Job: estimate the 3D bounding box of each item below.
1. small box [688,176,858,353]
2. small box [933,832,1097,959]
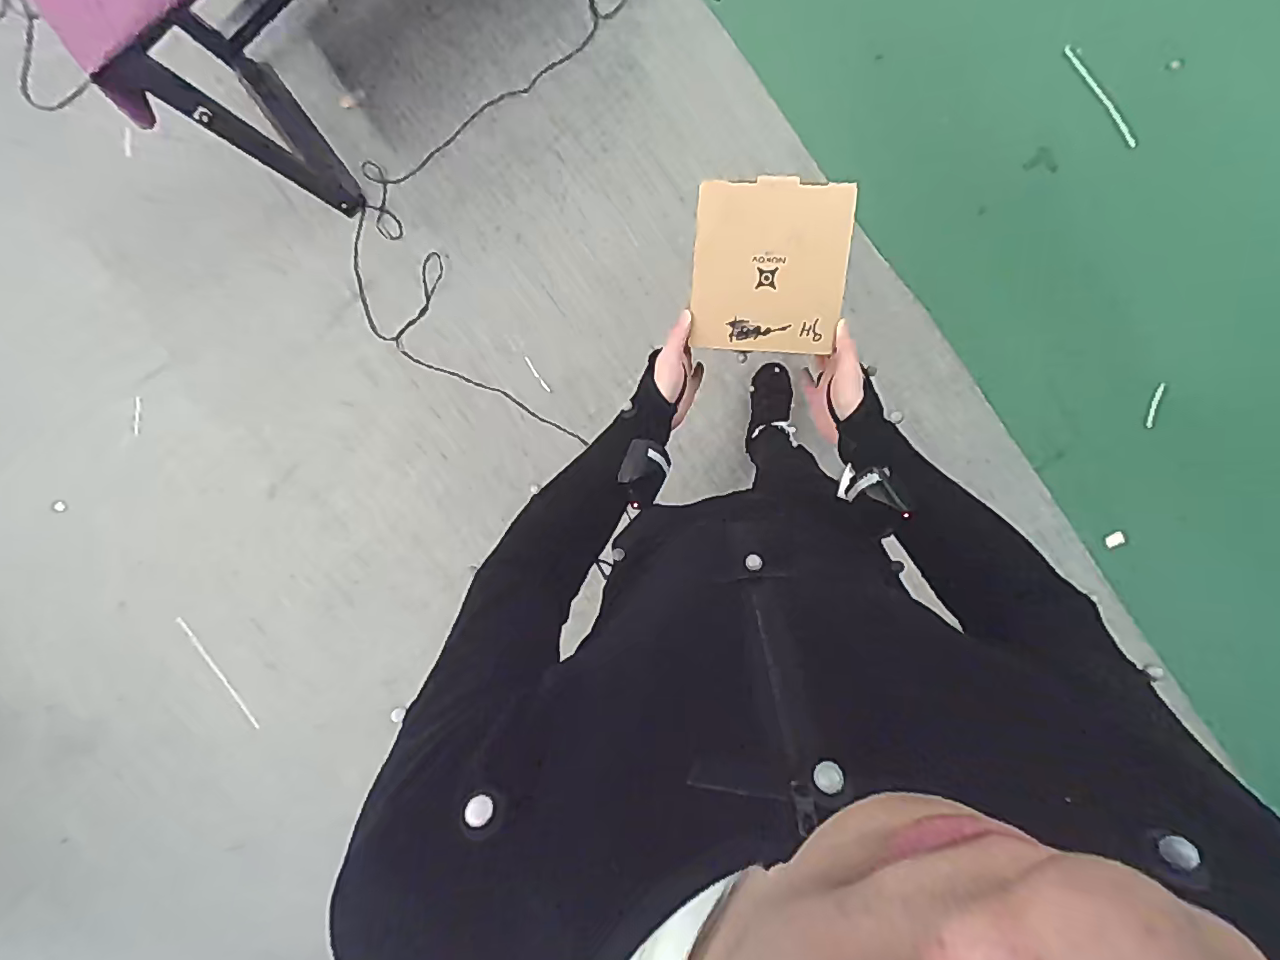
[{"bbox_3d":[0.149,-0.251,0.664,0.168,0.176,0.179,5,105,6],"label":"small box"},{"bbox_3d":[0.651,0.767,0.940,0.168,0.176,0.179,-26,91,8],"label":"small box"}]
